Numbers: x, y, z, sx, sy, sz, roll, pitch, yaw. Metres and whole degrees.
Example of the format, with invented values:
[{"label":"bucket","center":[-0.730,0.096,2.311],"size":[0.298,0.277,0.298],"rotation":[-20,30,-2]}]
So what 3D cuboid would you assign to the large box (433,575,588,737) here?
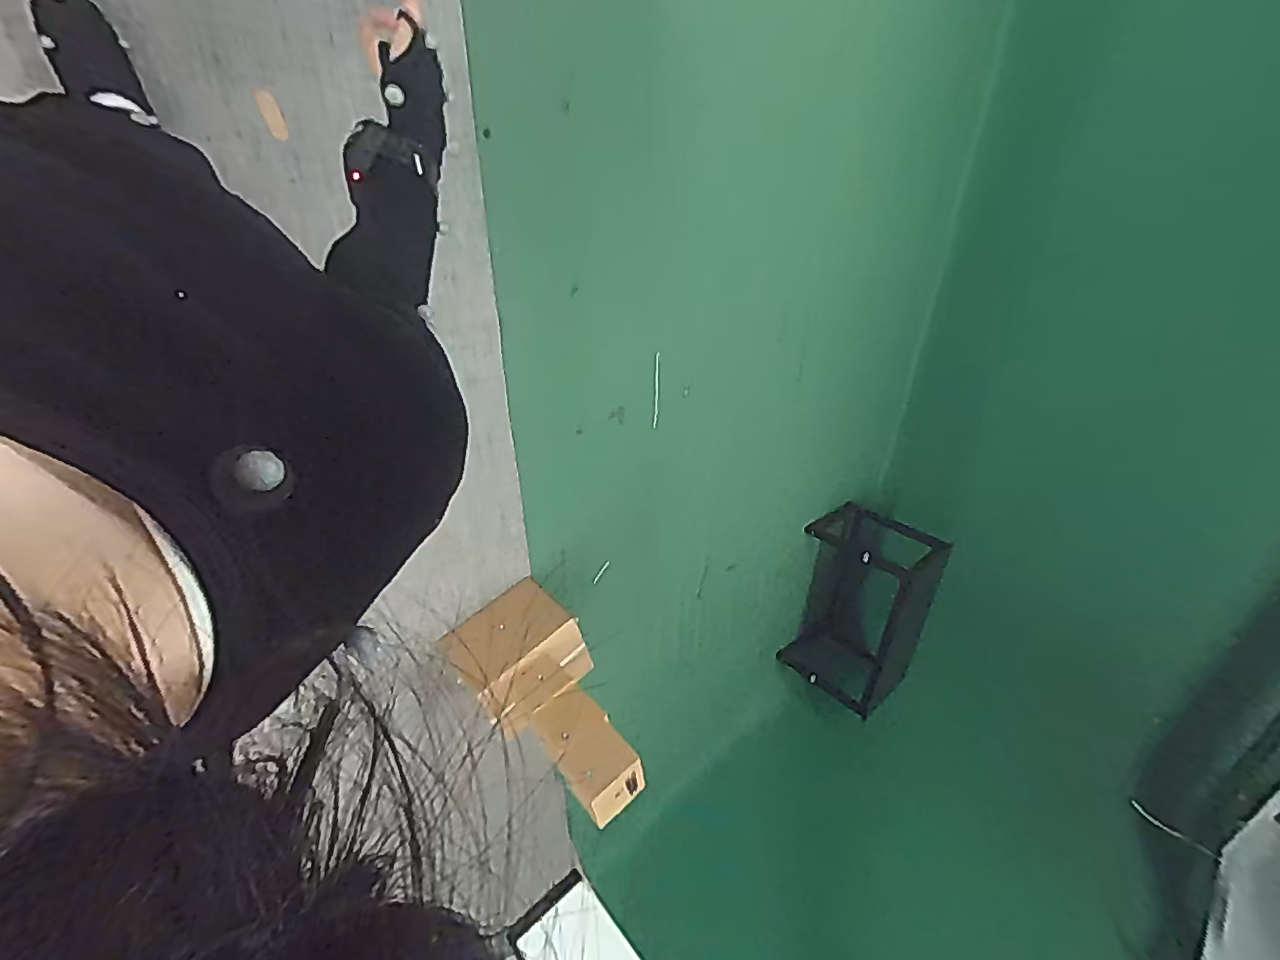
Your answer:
[{"label":"large box","center":[-0.467,0.633,1.987],"size":[0.408,0.320,0.320],"rotation":[-37,135,-28]}]

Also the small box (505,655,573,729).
[{"label":"small box","center":[-0.326,0.713,1.798],"size":[0.168,0.176,0.179],"rotation":[-31,131,-30]}]

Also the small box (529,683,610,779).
[{"label":"small box","center":[-0.220,0.779,1.695],"size":[0.179,0.176,0.168],"rotation":[-30,130,-31]}]
